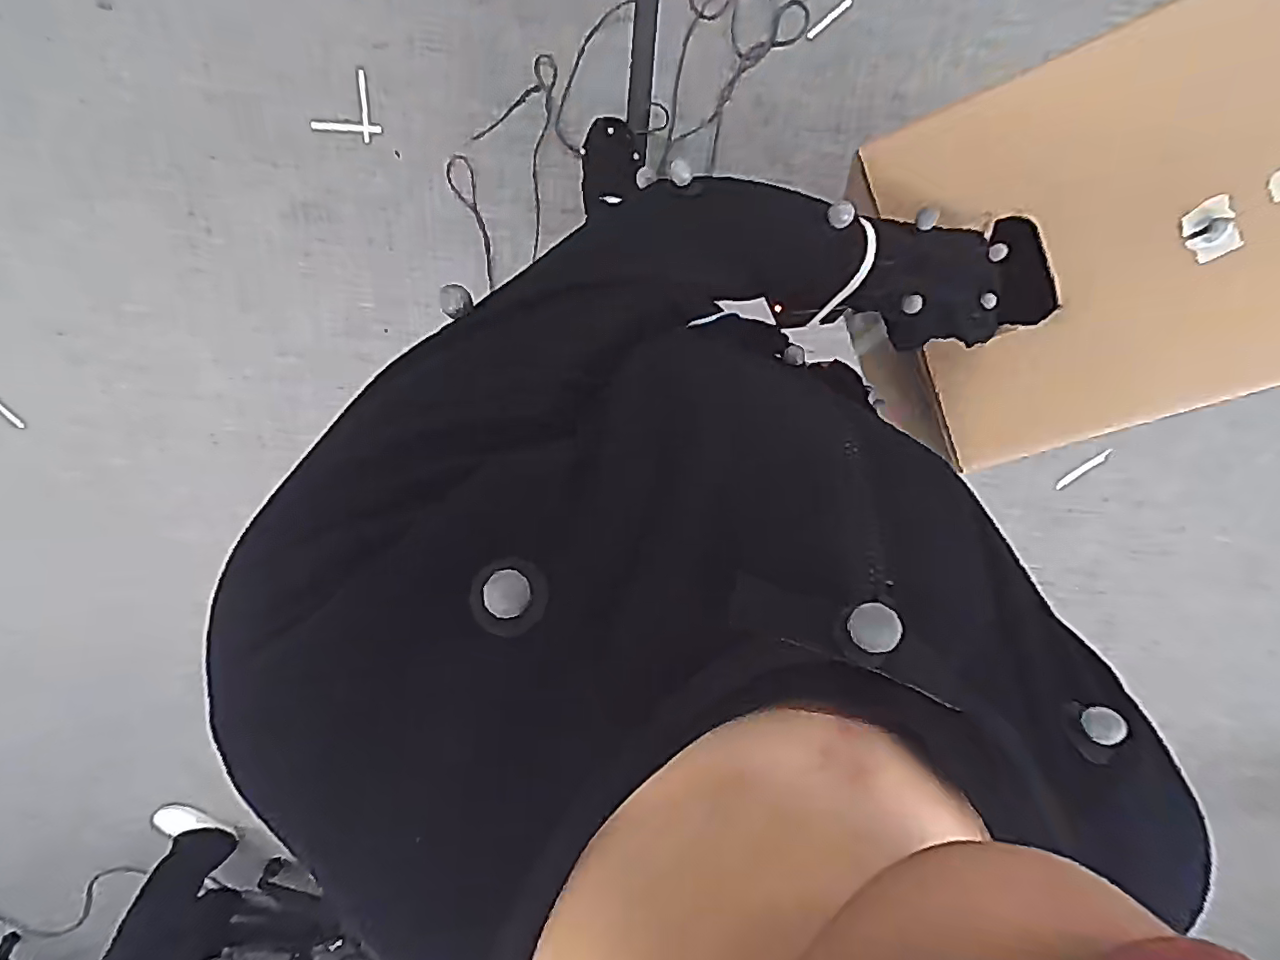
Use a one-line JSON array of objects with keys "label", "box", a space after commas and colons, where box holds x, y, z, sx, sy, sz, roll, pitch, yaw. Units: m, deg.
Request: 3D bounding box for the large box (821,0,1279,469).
[{"label": "large box", "box": [0.423, -0.218, 0.647, 0.320, 0.408, 0.320, -16, 92, 17]}]
